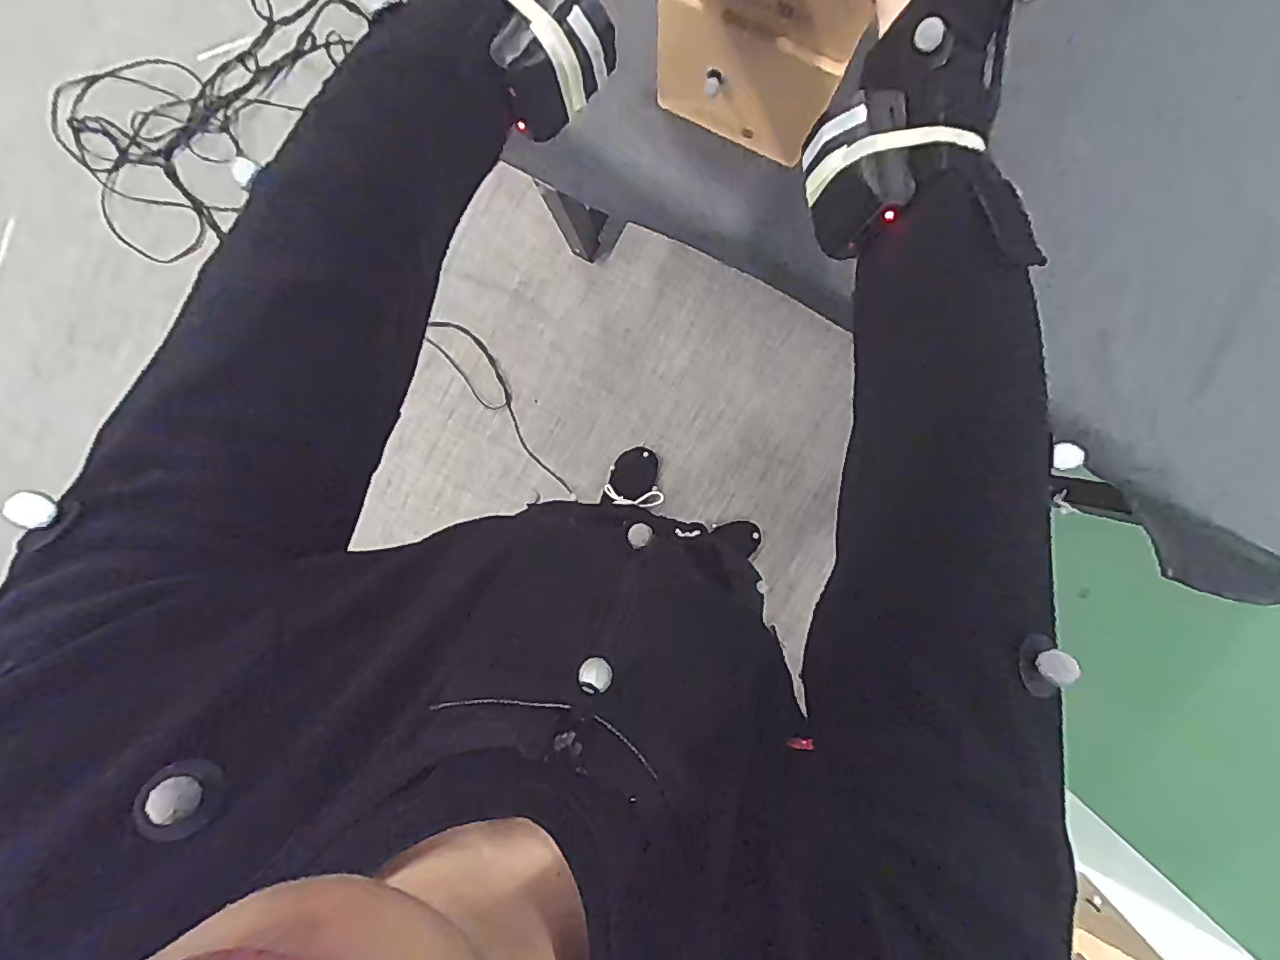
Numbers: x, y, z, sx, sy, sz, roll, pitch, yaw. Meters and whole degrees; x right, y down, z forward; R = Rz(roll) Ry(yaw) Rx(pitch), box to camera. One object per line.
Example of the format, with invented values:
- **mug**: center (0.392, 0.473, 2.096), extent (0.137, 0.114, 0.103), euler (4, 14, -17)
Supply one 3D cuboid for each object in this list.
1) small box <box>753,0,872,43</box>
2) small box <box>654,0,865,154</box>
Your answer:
- **small box**: center (0.121, -0.437, 0.337), extent (0.168, 0.176, 0.179), euler (23, 96, -4)
- **small box**: center (0.123, -0.447, 0.500), extent (0.168, 0.176, 0.179), euler (25, 96, -2)
